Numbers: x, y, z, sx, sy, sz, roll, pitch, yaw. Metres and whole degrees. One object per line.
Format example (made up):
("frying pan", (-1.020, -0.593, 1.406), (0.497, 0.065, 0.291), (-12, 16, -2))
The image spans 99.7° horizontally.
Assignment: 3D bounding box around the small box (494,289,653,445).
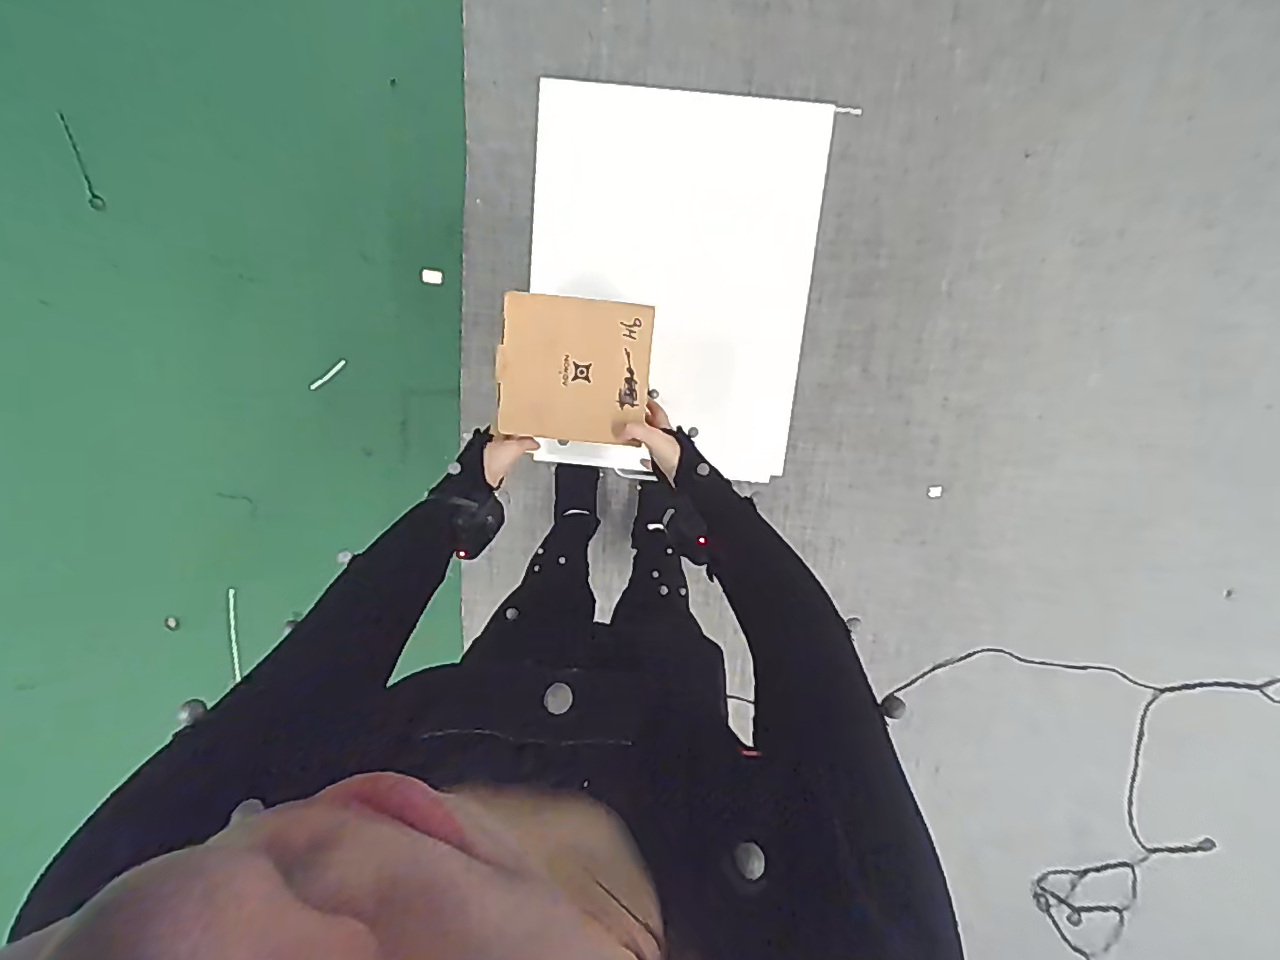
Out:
("small box", (-0.079, -0.142, 0.707), (0.179, 0.176, 0.168), (5, 100, -1))
